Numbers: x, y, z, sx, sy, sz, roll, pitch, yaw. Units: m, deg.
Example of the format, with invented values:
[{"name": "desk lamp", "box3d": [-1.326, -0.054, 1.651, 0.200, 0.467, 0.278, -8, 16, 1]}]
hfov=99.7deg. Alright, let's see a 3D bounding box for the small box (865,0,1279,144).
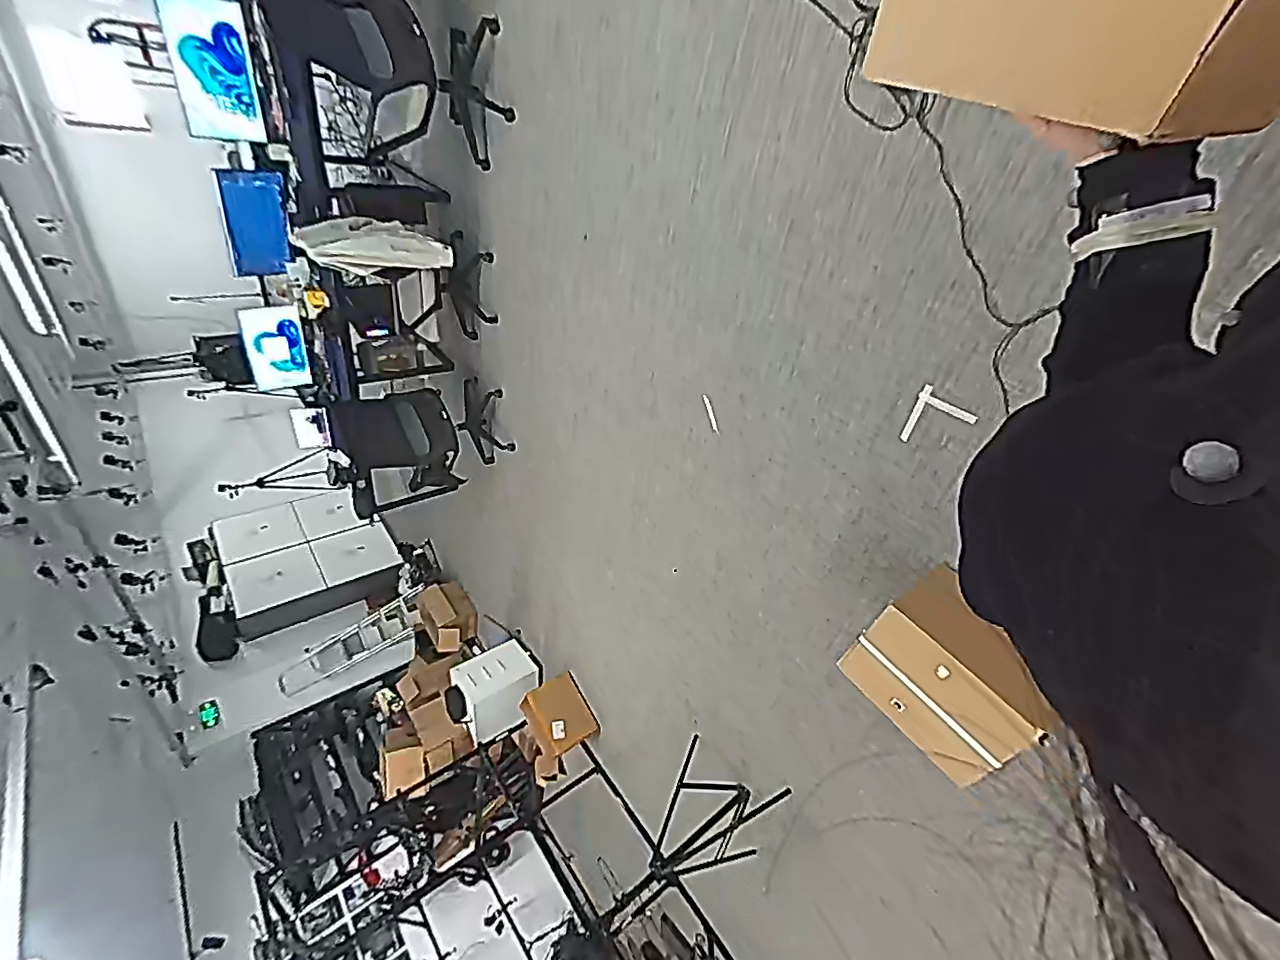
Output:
[{"name": "small box", "box3d": [0.265, -0.292, 0.282, 0.179, 0.176, 0.168, 48, 146, 37]}]
